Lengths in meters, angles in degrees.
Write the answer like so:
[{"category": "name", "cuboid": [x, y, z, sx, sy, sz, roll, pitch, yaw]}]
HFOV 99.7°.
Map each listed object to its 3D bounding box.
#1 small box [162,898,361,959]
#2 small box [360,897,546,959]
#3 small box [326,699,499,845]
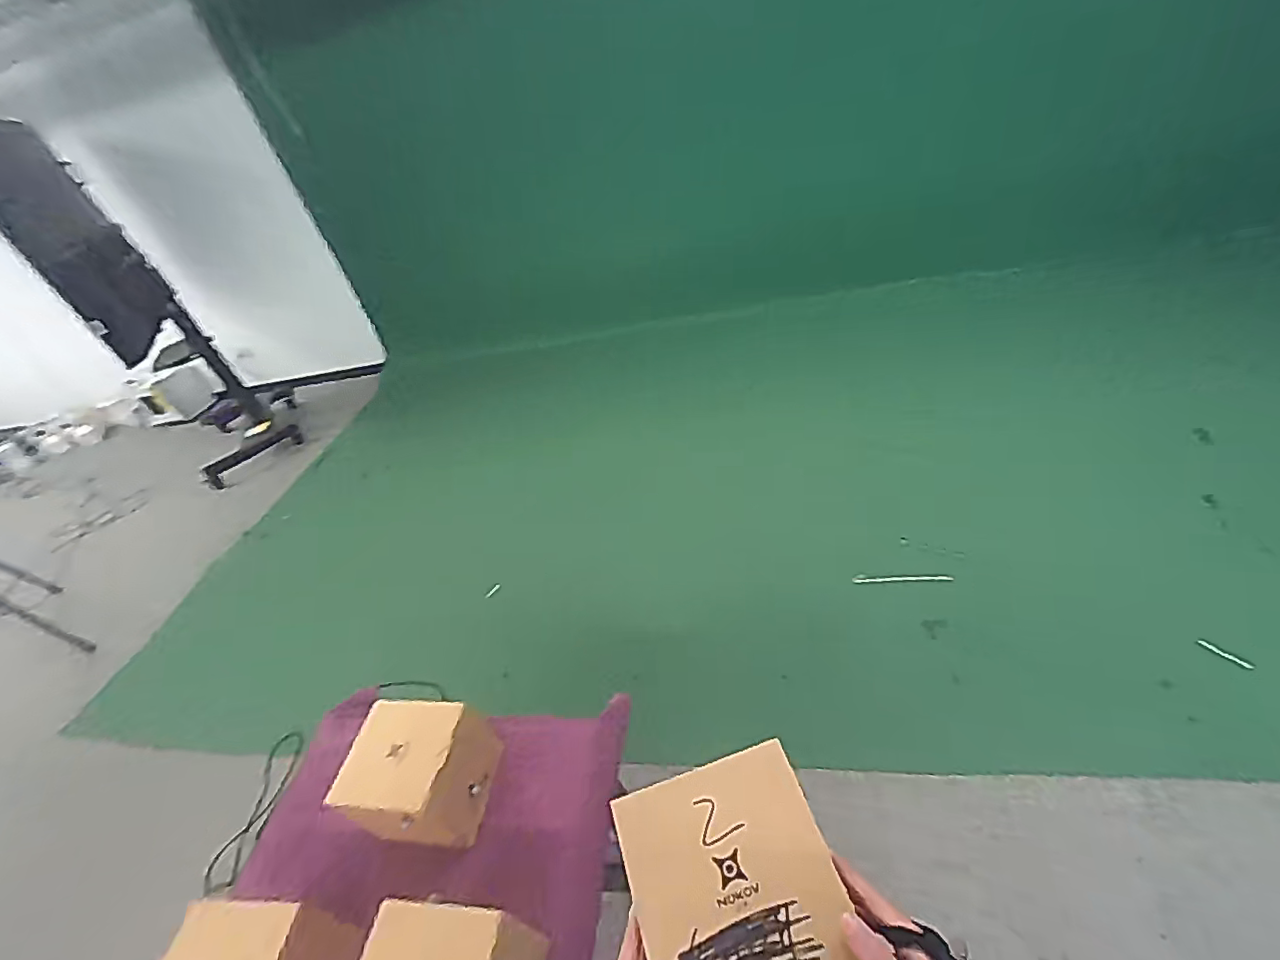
[{"category": "small box", "cuboid": [-0.523, 0.685, 0.723, 0.179, 0.176, 0.168, -6, 40, 11]}, {"category": "small box", "cuboid": [-0.240, 0.645, 0.666, 0.179, 0.176, 0.168, -6, 40, 15]}, {"category": "small box", "cuboid": [-0.367, 0.488, 0.906, 0.179, 0.176, 0.168, -4, 40, 14]}]
